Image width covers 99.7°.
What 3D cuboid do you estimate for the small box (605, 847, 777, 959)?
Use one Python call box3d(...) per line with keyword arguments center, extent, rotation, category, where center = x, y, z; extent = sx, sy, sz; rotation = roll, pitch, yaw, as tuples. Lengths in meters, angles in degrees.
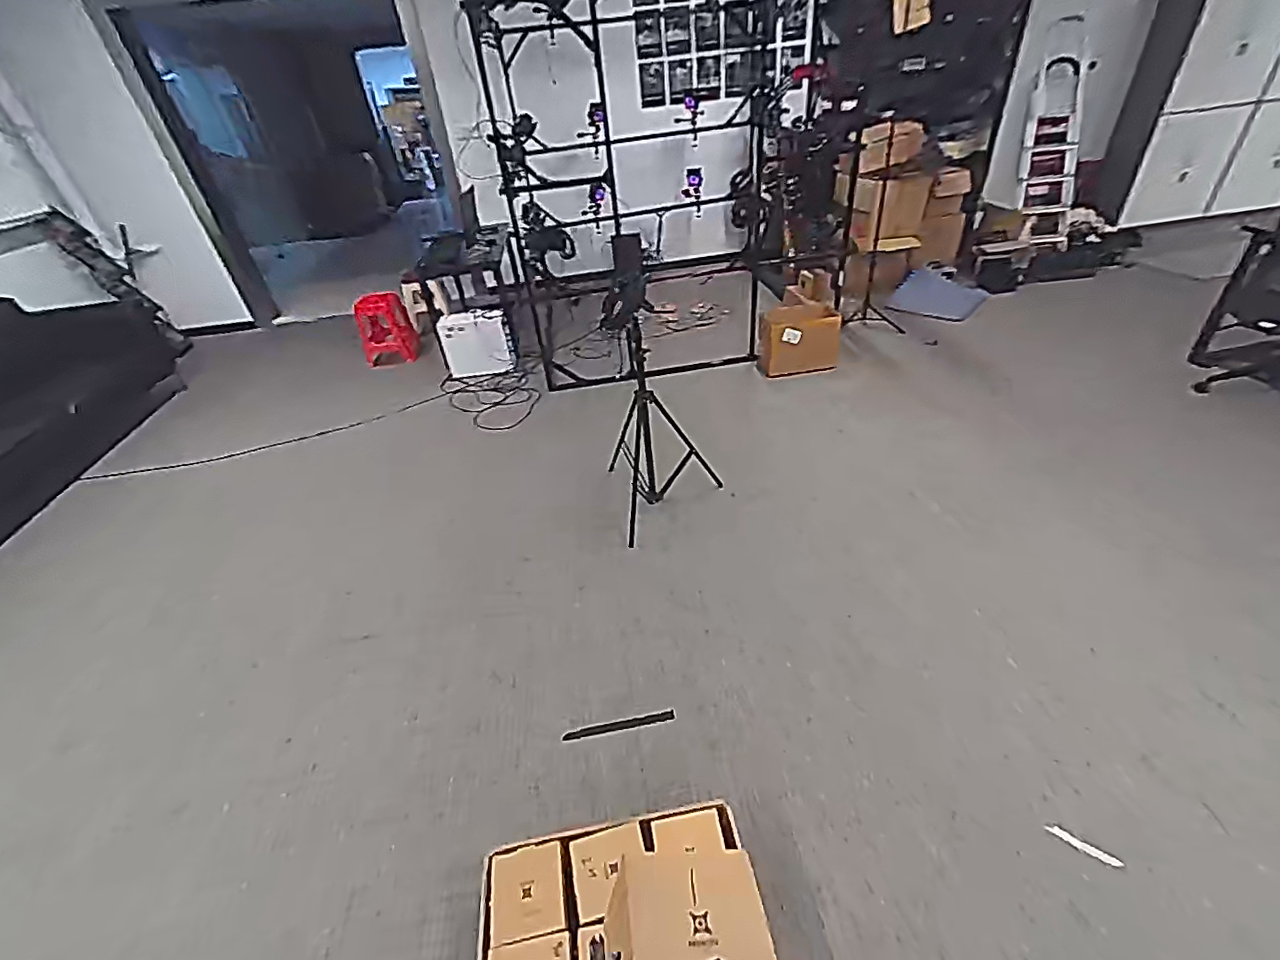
box3d(center=(0.054, 0.574, 0.638), extent=(0.168, 0.176, 0.179), rotation=(6, 26, -11), category="small box")
